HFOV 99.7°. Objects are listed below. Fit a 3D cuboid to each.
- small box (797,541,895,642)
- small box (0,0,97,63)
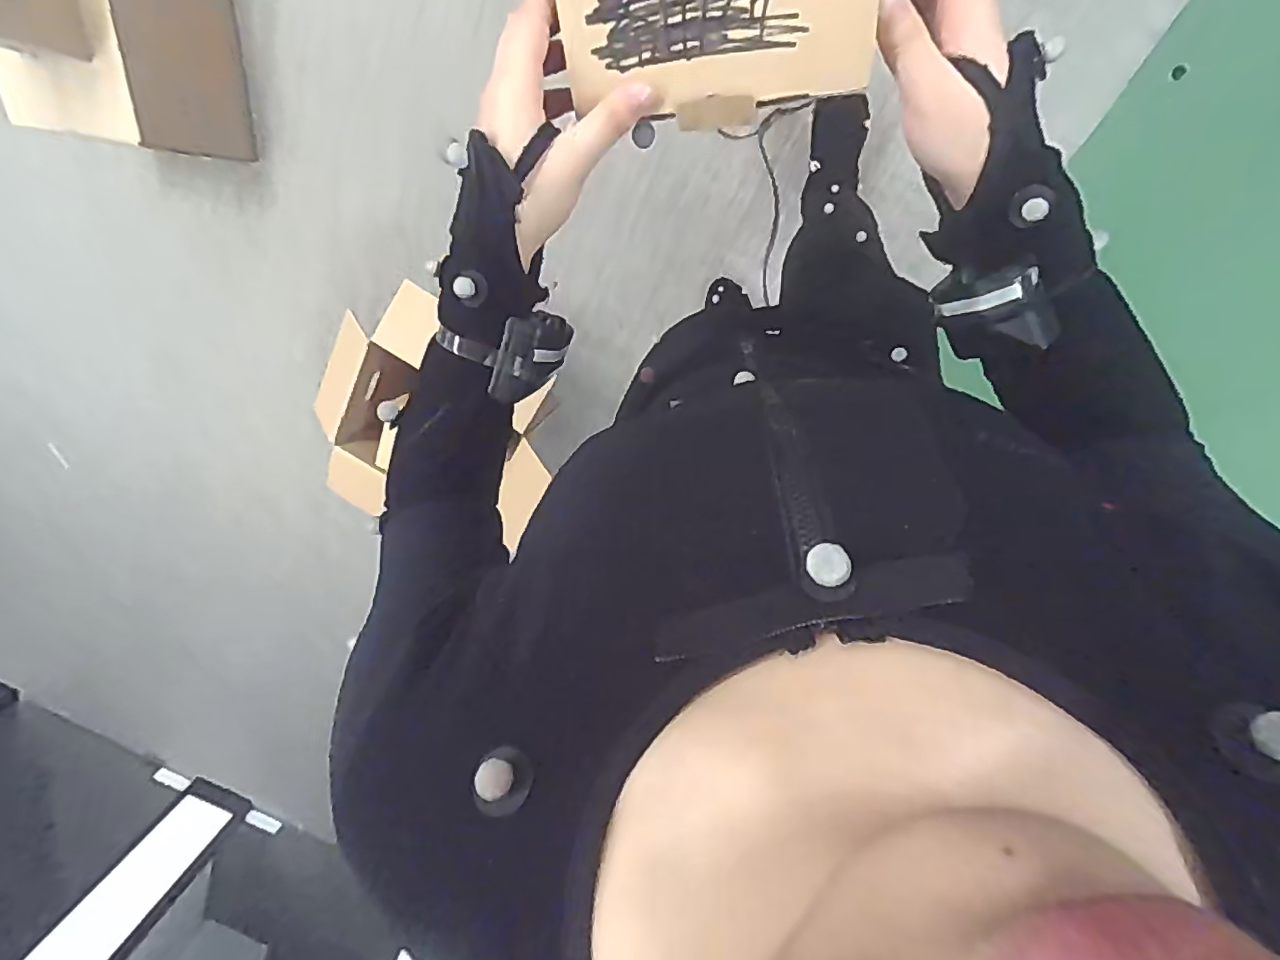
[{"bbox_3d":[0.543,0.291,1.451,0.179,0.176,0.168,27,117,-1],"label":"small box"},{"bbox_3d":[-1.149,-0.884,0.975,0.168,0.176,0.179,11,115,4],"label":"small box"}]
